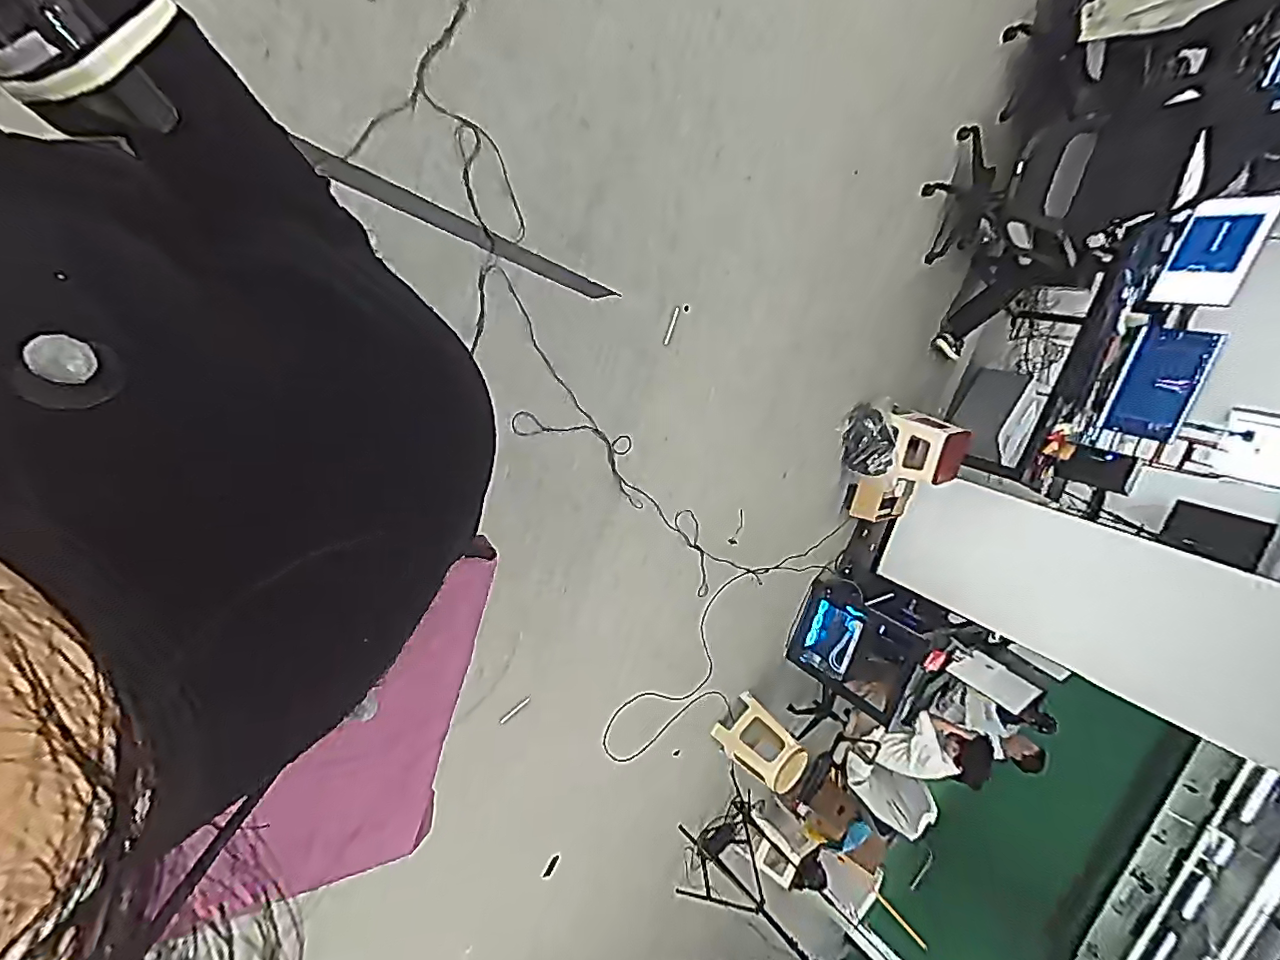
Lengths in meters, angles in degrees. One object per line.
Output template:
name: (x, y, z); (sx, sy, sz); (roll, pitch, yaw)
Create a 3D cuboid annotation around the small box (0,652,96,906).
small box: (-0.663, 0.294, 0.528); (0.168, 0.176, 0.179); (11, 102, -47)
